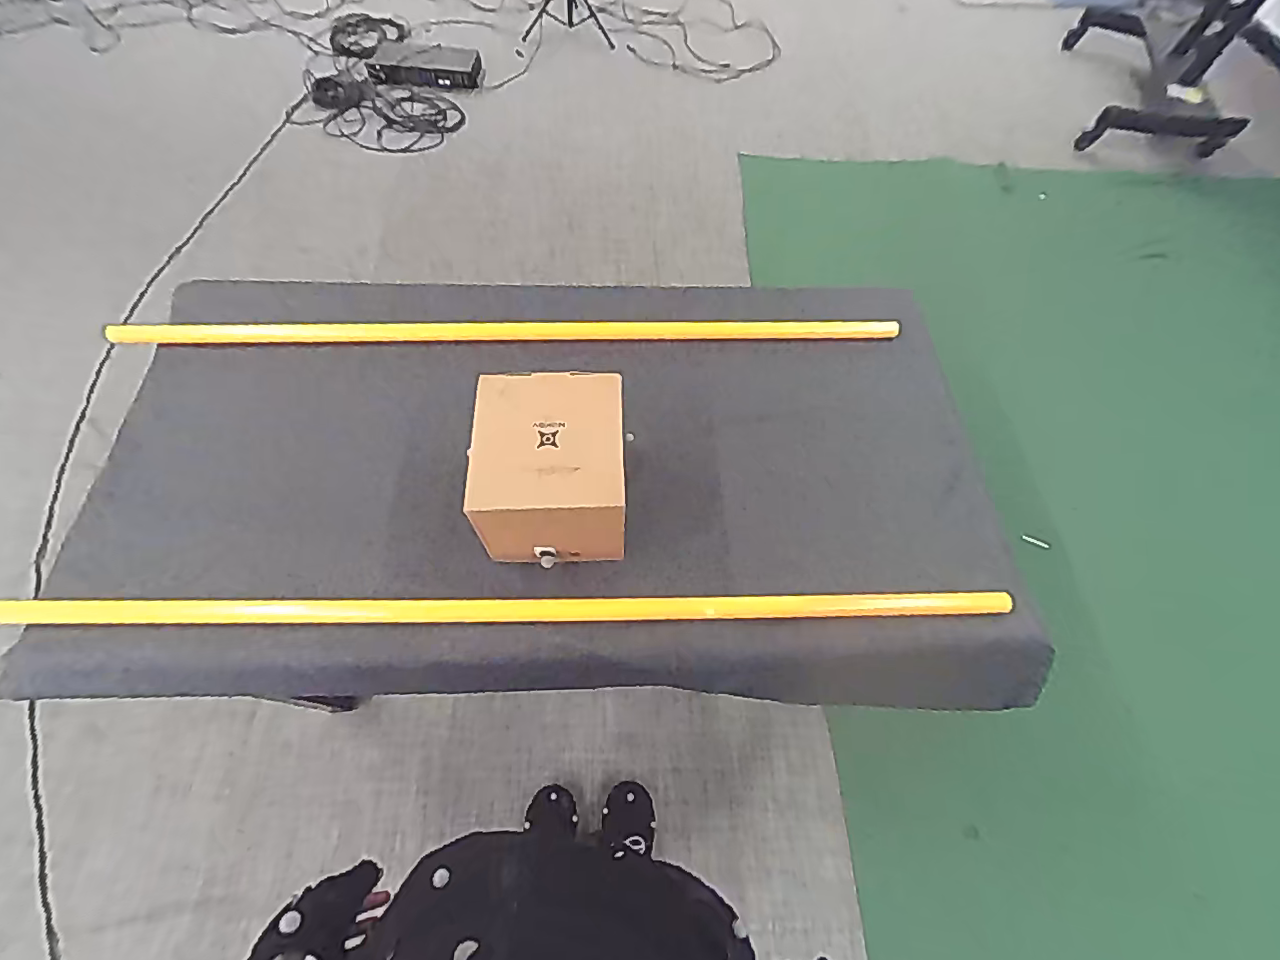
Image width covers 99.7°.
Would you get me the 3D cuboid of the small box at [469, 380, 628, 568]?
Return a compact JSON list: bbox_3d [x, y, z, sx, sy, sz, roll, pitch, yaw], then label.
[{"bbox_3d":[-0.101,-0.003,0.665,0.168,0.176,0.179,-2,63,-3],"label":"small box"}]
